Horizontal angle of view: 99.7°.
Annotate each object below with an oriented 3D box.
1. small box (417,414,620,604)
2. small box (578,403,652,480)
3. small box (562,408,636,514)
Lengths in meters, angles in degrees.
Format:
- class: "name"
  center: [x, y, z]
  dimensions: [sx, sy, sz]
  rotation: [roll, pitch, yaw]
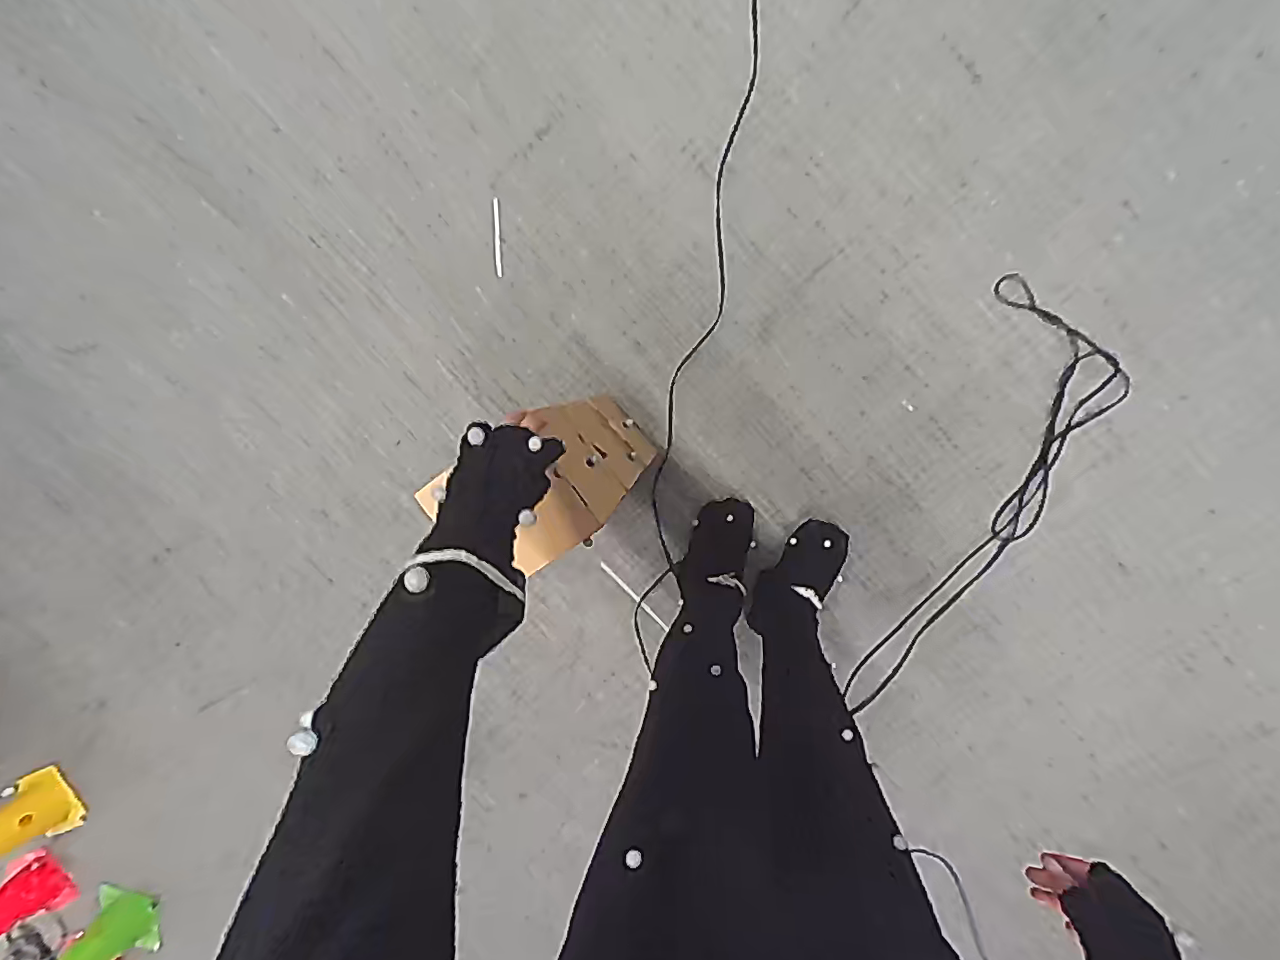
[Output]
- class: "small box"
  center: [-0.148, 0.029, 0.724]
  dimensions: [0.179, 0.176, 0.168]
  rotation: [-35, 96, 13]
- class: "small box"
  center: [-0.091, -0.036, 1.042]
  dimensions: [0.179, 0.176, 0.168]
  rotation: [-43, 91, 13]
- class: "small box"
  center: [-0.121, 0.001, 0.881]
  dimensions: [0.179, 0.176, 0.168]
  rotation: [-40, 95, 15]
